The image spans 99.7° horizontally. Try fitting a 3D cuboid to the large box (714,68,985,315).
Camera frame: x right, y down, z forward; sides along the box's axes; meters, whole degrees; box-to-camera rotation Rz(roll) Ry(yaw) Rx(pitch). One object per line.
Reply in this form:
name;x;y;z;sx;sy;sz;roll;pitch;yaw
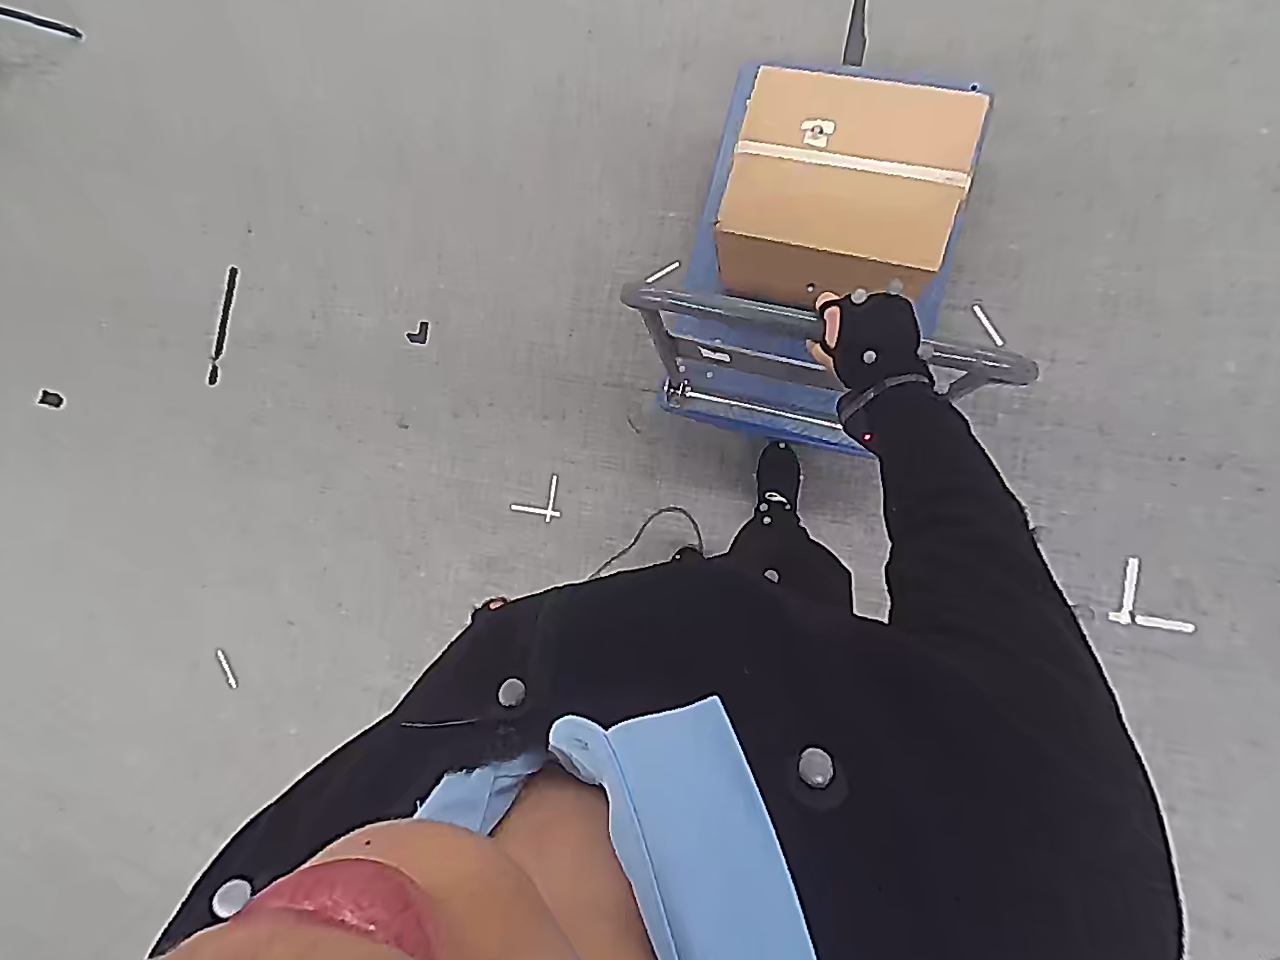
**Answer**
large box;0.394;-0.562;1.104;0.408;0.320;0.320;16;91;12
